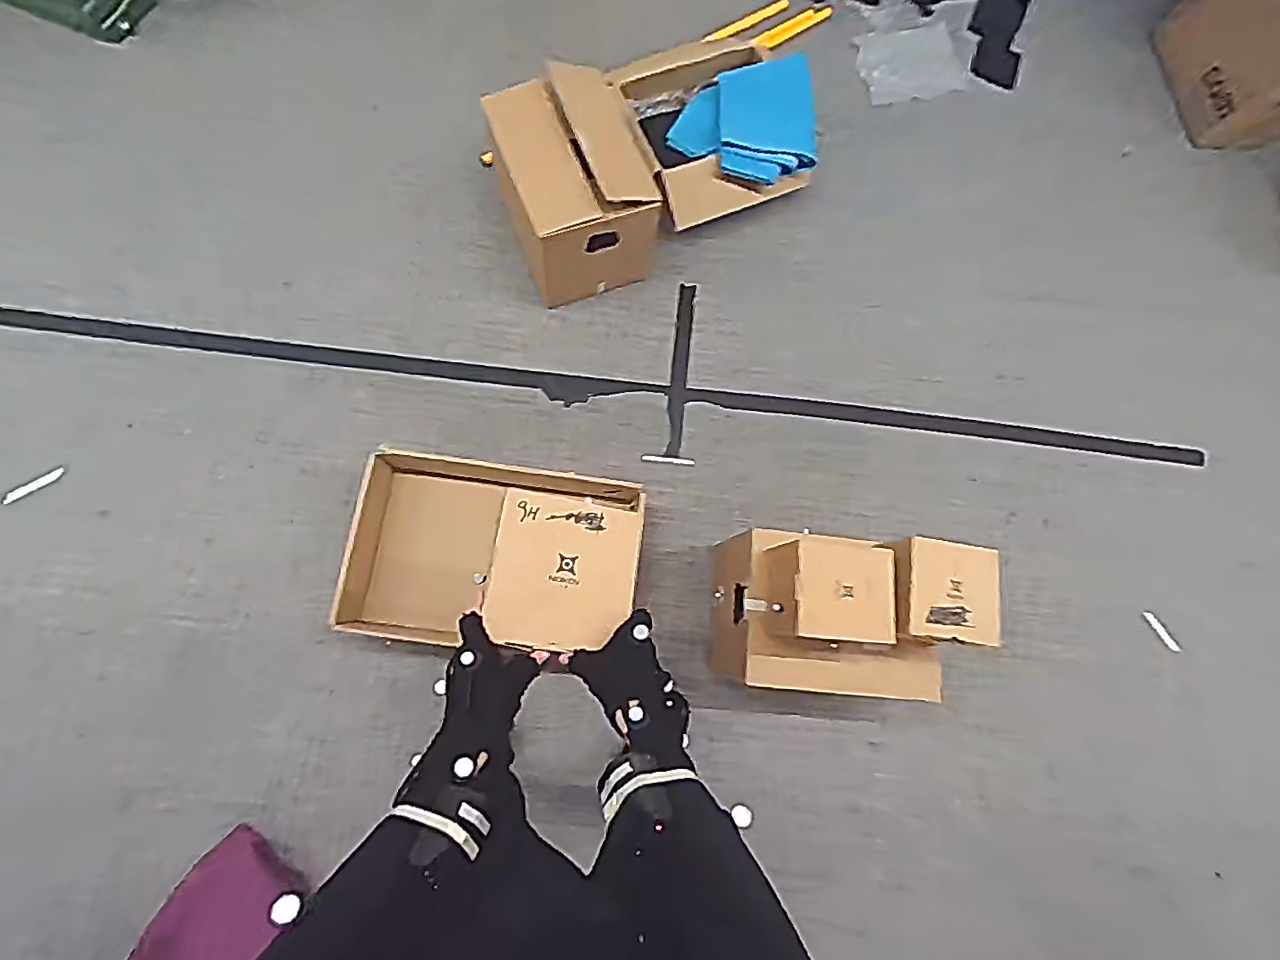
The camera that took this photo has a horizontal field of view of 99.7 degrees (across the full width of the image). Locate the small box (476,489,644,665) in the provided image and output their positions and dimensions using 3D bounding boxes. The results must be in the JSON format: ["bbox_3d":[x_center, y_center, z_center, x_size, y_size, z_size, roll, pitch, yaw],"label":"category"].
[{"bbox_3d":[-0.106,0.133,0.685,0.168,0.176,0.179,13,66,-14],"label":"small box"}]

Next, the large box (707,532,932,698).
[{"bbox_3d":[0.386,0.311,1.252,0.408,0.320,0.320,6,76,-6],"label":"large box"}]

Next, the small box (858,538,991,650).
[{"bbox_3d":[0.538,0.221,1.039,0.168,0.176,0.179,10,74,-4],"label":"small box"}]
